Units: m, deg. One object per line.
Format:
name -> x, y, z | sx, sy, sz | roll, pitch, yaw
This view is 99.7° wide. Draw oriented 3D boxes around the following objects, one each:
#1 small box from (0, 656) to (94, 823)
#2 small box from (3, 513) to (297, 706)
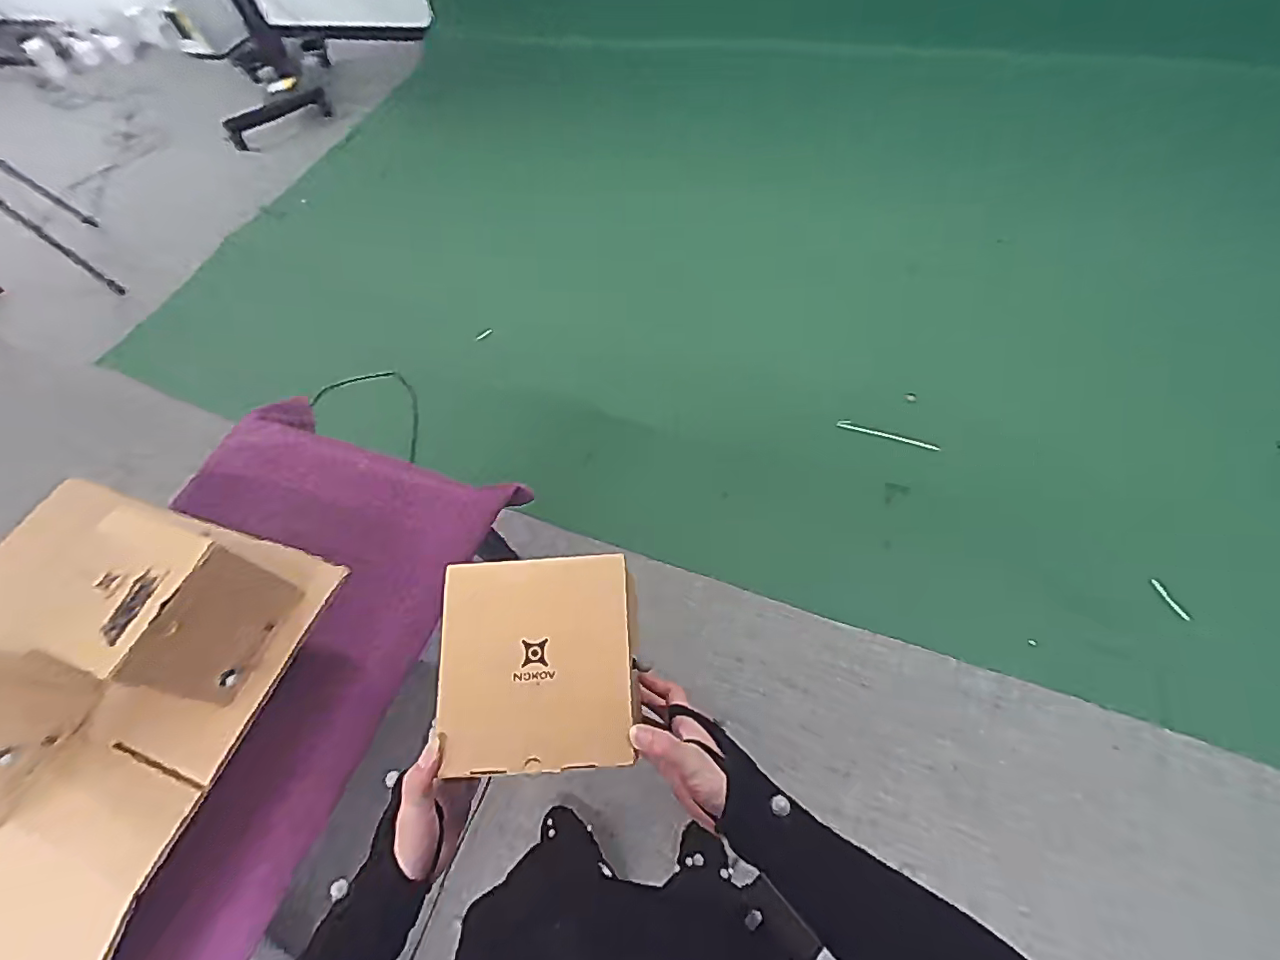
small box -> -0.823, 0.293, 0.626 | 0.179, 0.176, 0.168 | 15, 61, 15
small box -> -0.586, 0.168, 0.676 | 0.179, 0.176, 0.168 | 13, 60, 16
